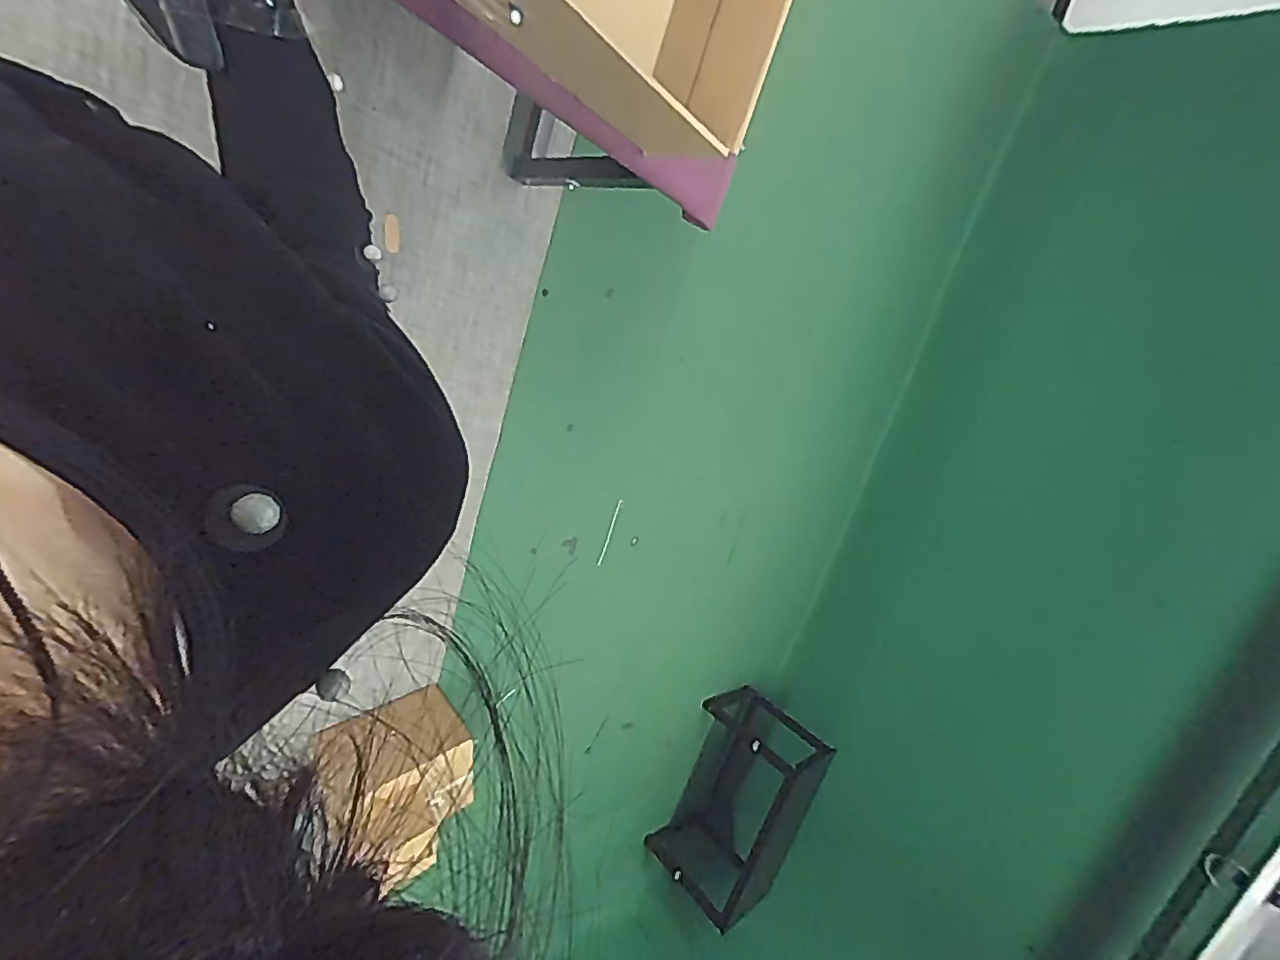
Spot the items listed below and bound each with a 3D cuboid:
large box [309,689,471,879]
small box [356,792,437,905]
[{"bbox_3d":[-0.824,0.984,1.805,0.408,0.320,0.320,-14,122,-43],"label":"large box"},{"bbox_3d":[-0.716,1.069,1.583,0.179,0.176,0.168,-8,116,-44],"label":"small box"}]
